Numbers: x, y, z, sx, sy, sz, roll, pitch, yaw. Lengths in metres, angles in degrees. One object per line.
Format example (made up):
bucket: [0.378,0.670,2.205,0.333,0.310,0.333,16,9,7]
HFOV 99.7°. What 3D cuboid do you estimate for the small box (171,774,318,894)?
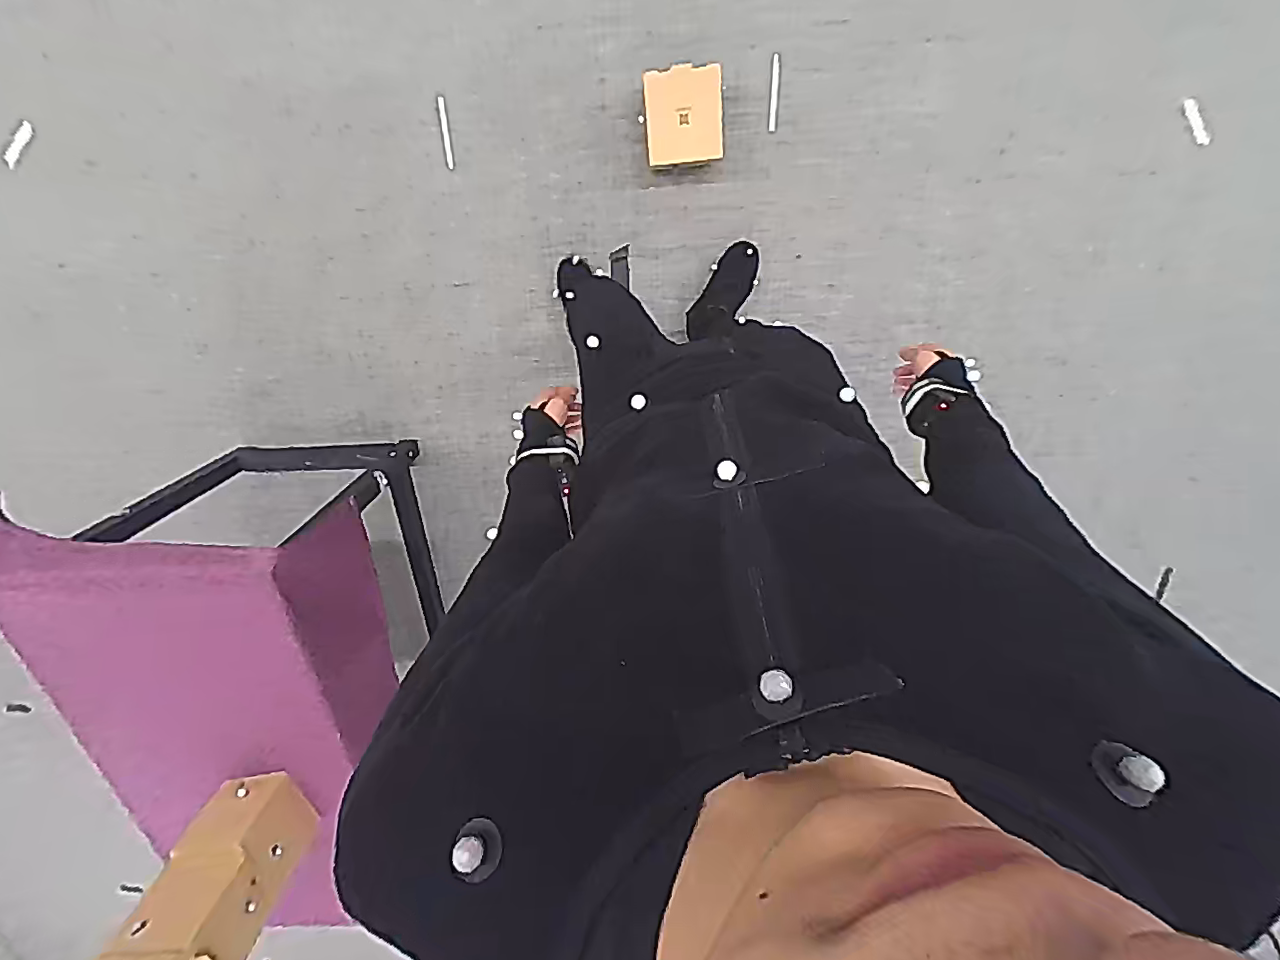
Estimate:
small box: [-0.874,0.801,1.219,0.168,0.176,0.179,-11,114,6]

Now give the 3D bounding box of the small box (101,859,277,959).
small box: [-0.883,0.892,1.080,0.179,0.176,0.168,-7,116,4]

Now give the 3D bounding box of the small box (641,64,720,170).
small box: [0.094,-0.820,1.239,0.168,0.176,0.179,-5,115,3]
